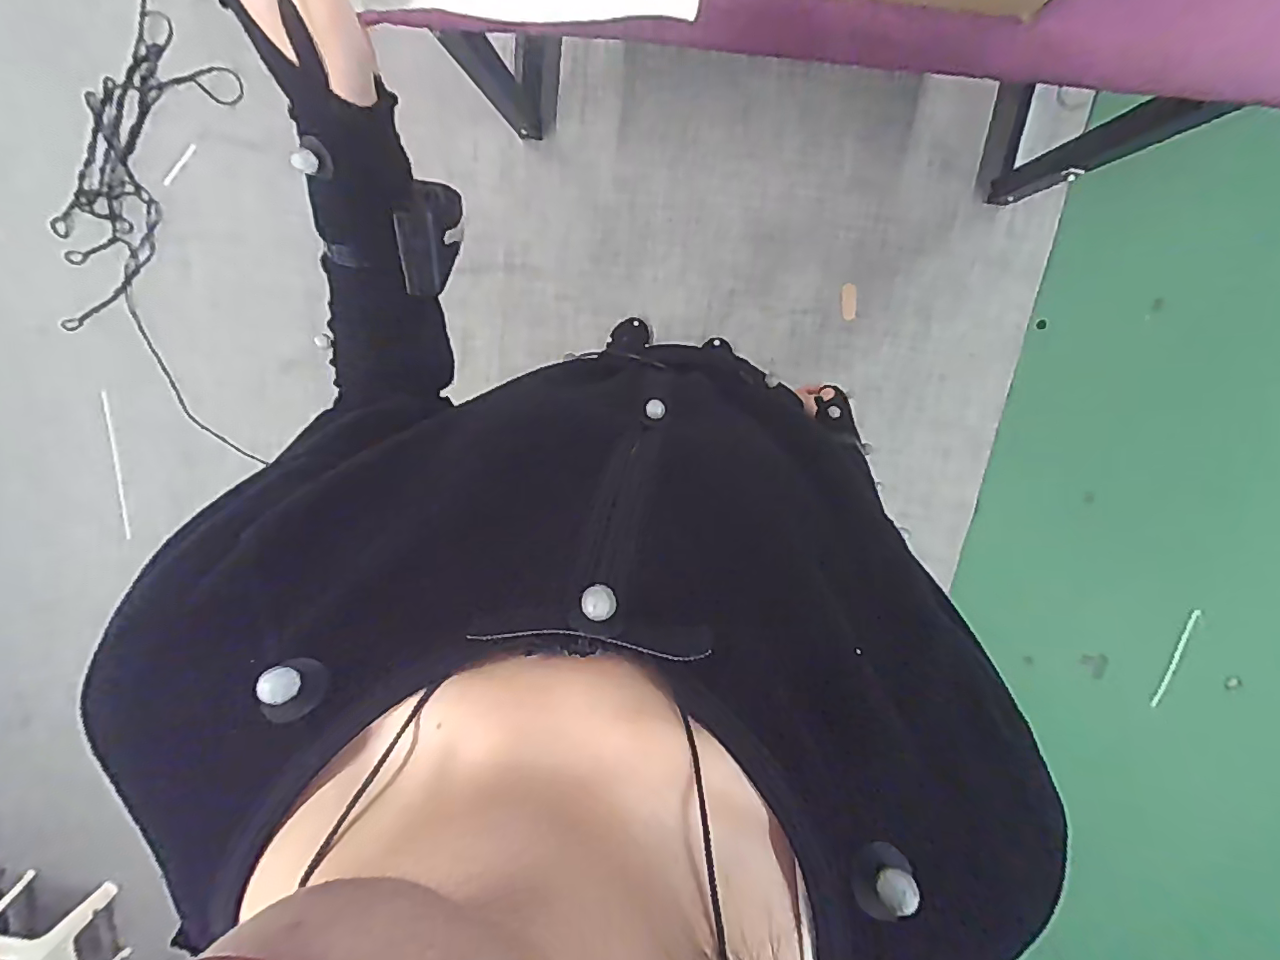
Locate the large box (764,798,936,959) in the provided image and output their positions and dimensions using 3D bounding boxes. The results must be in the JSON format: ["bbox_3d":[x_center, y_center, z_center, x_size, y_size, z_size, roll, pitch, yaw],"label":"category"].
[{"bbox_3d":[0.607,1.205,1.613,0.408,0.320,0.320,-6,104,5],"label":"large box"}]
